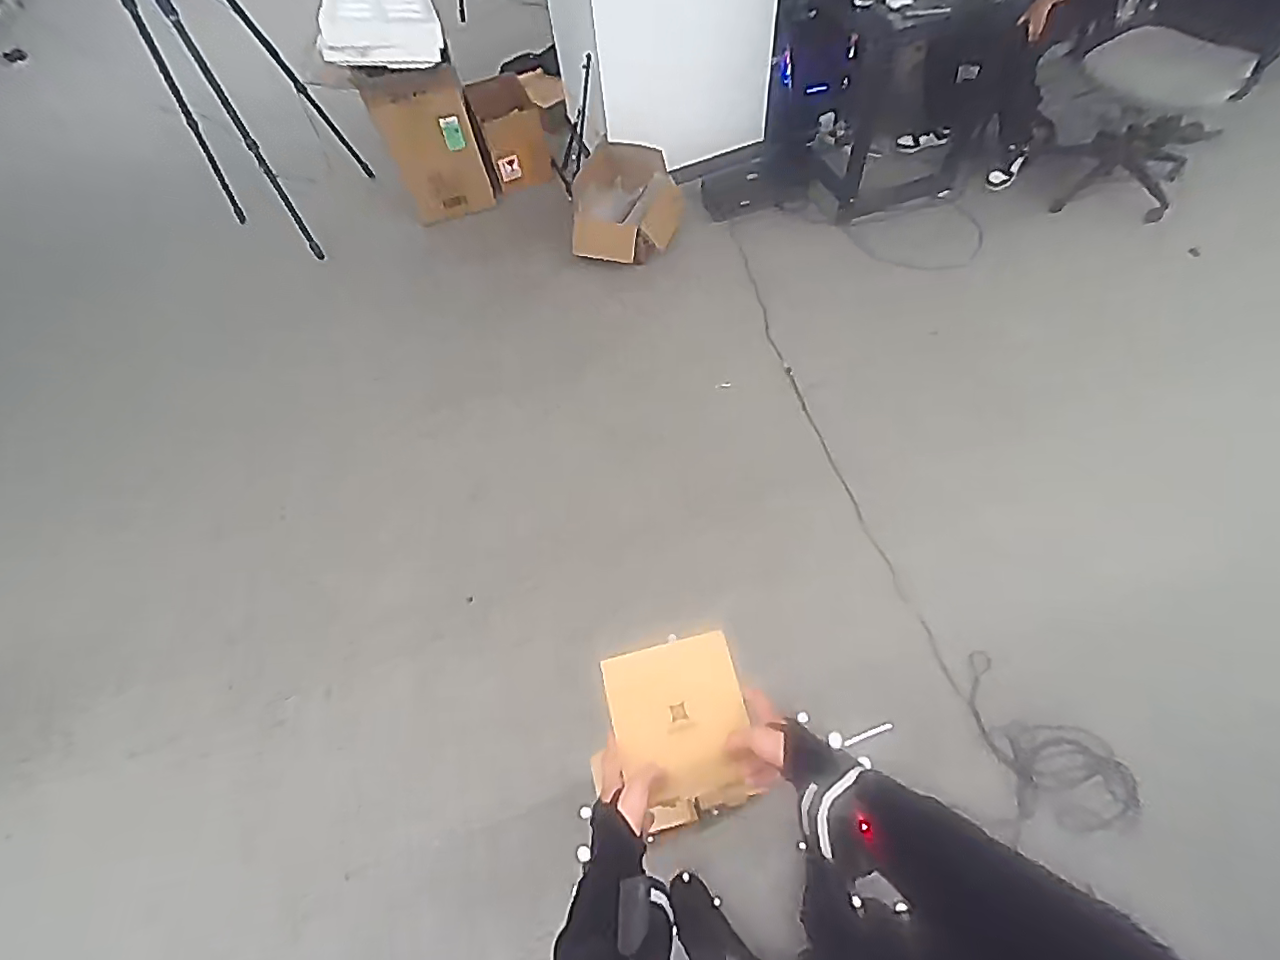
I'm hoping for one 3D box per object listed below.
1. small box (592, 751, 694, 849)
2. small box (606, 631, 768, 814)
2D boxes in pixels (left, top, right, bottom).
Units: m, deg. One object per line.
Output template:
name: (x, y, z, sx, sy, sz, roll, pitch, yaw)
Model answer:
small box: (0.010, 0.668, 1.160, 0.179, 0.176, 0.168, -17, 58, -2)
small box: (0.051, 0.319, 0.732, 0.168, 0.176, 0.179, -13, 70, -6)
